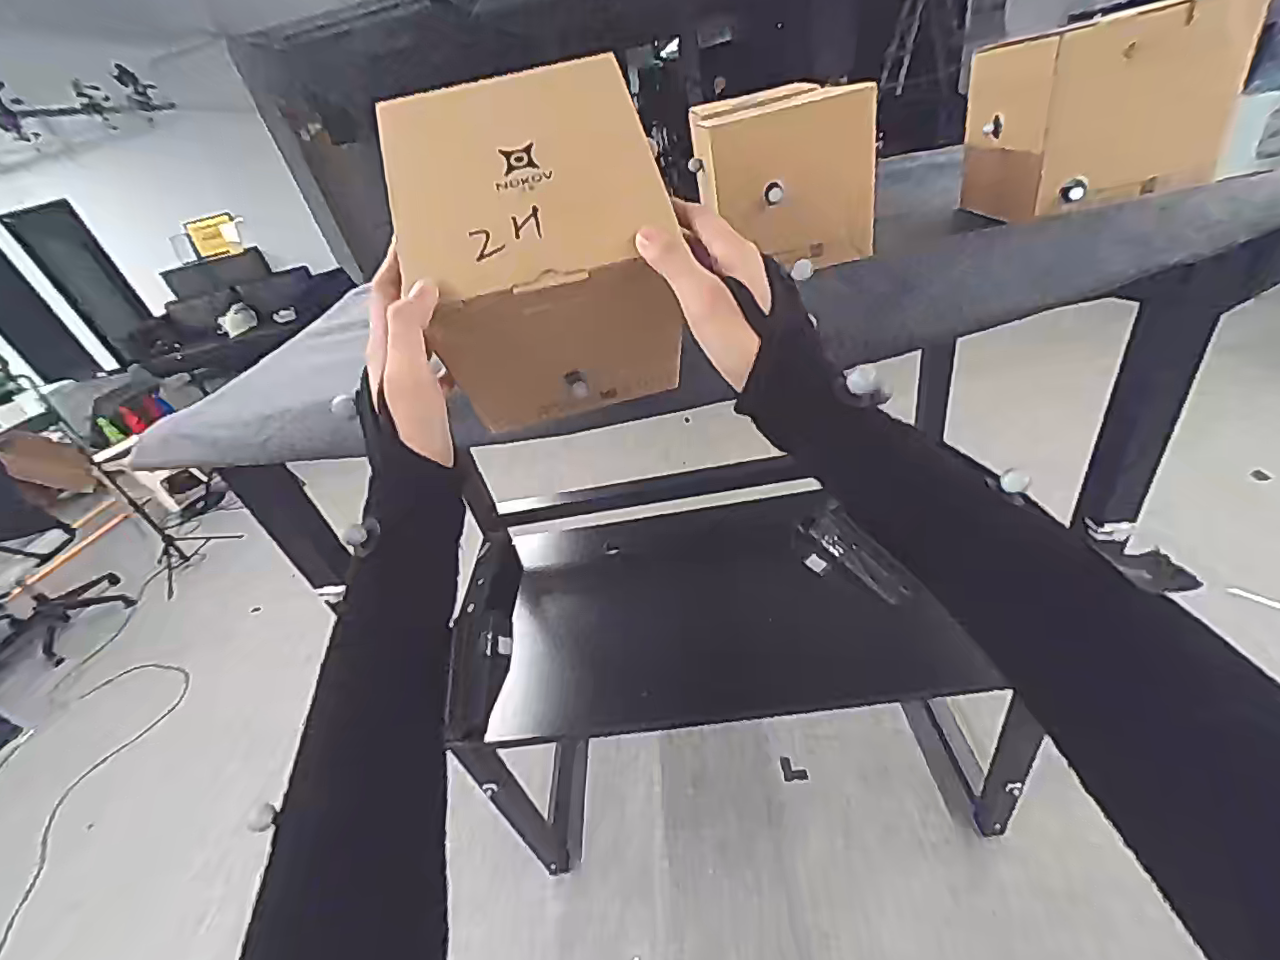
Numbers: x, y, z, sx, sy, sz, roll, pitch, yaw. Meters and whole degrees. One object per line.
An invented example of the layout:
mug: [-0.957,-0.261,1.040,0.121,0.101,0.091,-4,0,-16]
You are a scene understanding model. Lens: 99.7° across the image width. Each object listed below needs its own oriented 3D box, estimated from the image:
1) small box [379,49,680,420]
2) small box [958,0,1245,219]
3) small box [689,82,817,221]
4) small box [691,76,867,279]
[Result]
small box: [-0.074,-0.172,0.413,0.168,0.176,0.179,-15,71,-3]
small box: [0.468,-0.393,0.581,0.168,0.176,0.179,-9,31,9]
small box: [0.174,-0.500,0.847,0.168,0.176,0.179,-10,34,6]
small box: [0.160,-0.351,0.642,0.168,0.176,0.179,-10,33,7]
